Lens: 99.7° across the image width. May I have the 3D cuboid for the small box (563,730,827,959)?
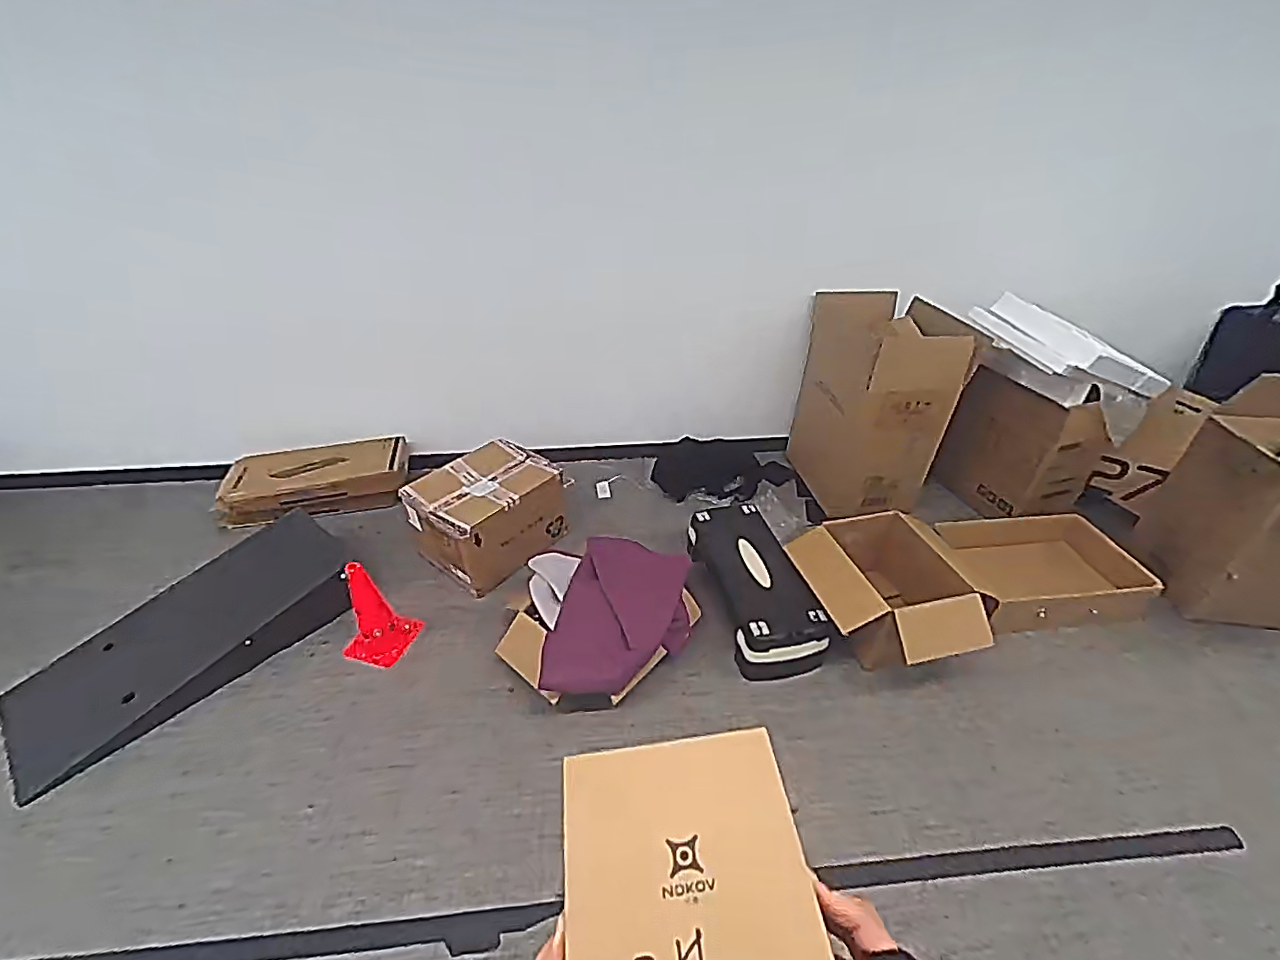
[{"bbox_3d":[0.034,0.328,0.423,0.168,0.176,0.179,-8,41,-2],"label":"small box"}]
